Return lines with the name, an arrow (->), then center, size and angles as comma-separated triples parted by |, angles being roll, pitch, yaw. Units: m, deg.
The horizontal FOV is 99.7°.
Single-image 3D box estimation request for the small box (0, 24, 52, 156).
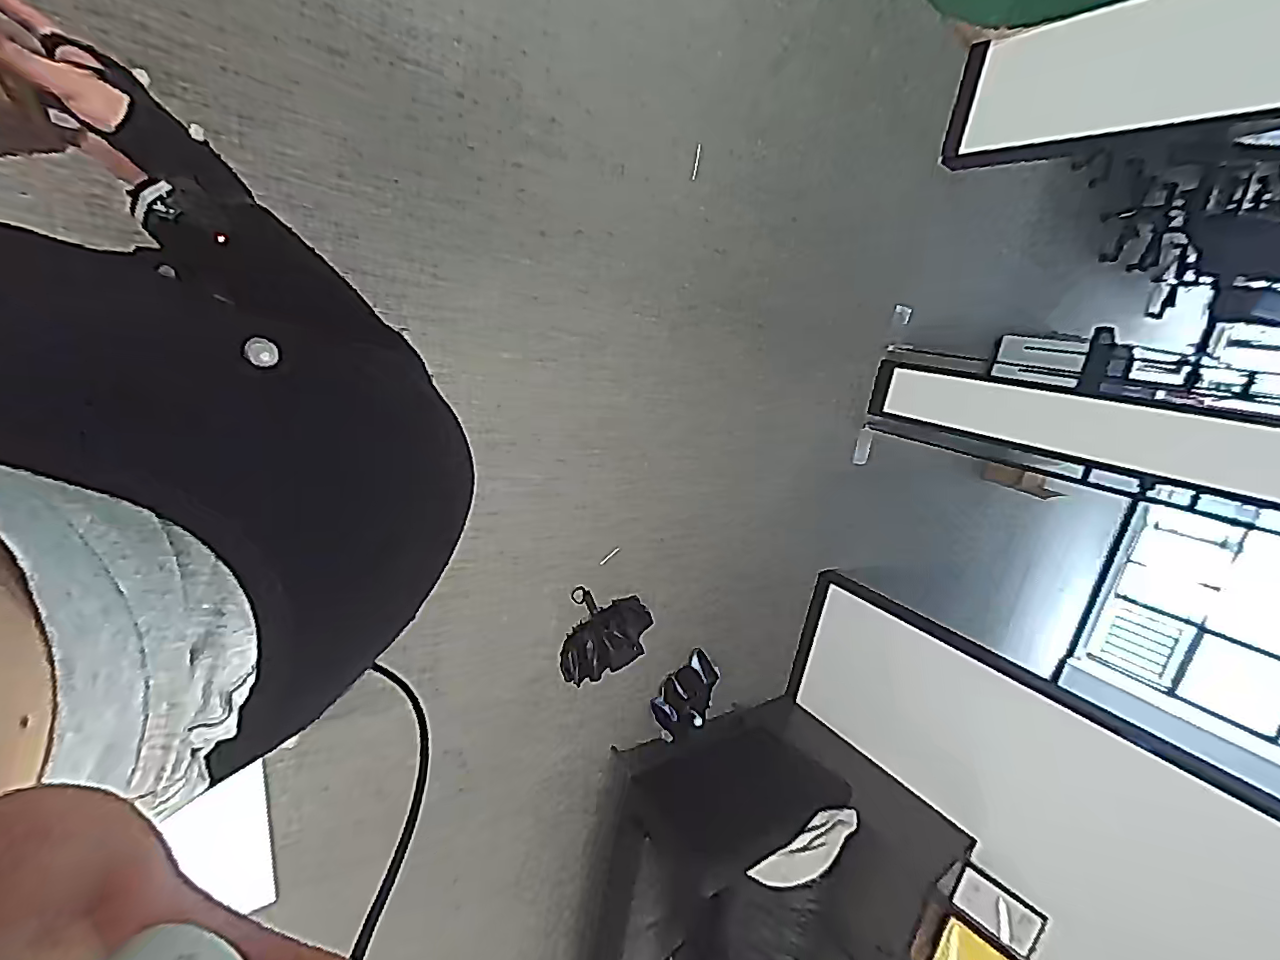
small box -> -0.542, -0.320, 0.339 | 0.168, 0.176, 0.179 | -23, 117, -27
